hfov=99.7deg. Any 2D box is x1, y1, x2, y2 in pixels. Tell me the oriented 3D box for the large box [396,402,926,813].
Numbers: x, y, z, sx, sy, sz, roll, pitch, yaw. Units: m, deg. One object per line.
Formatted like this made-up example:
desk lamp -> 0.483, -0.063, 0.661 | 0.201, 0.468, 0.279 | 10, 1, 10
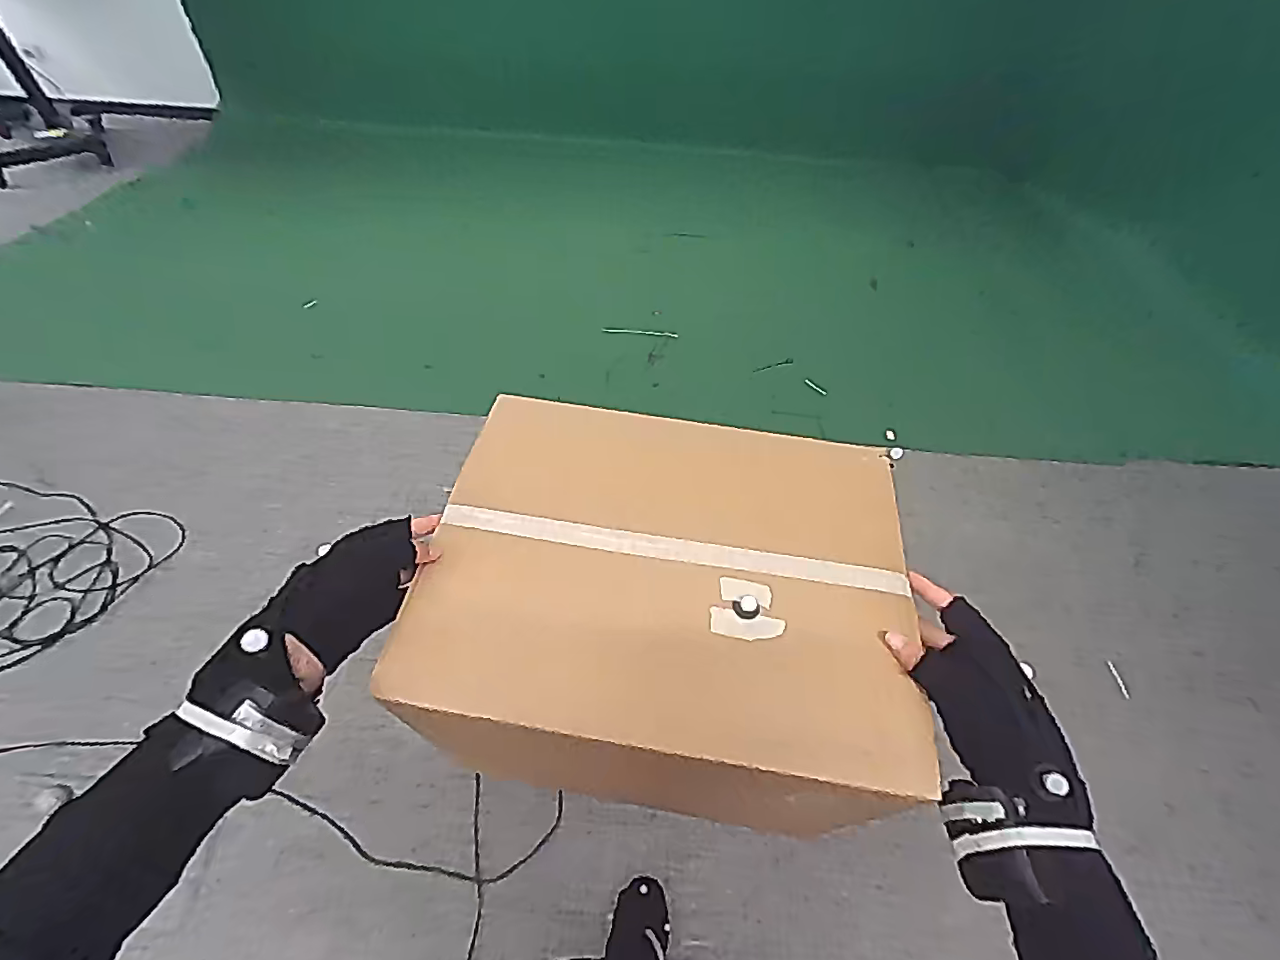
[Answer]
large box -> 0.024, 0.148, 0.602 | 0.408, 0.320, 0.320 | 8, 54, 4
